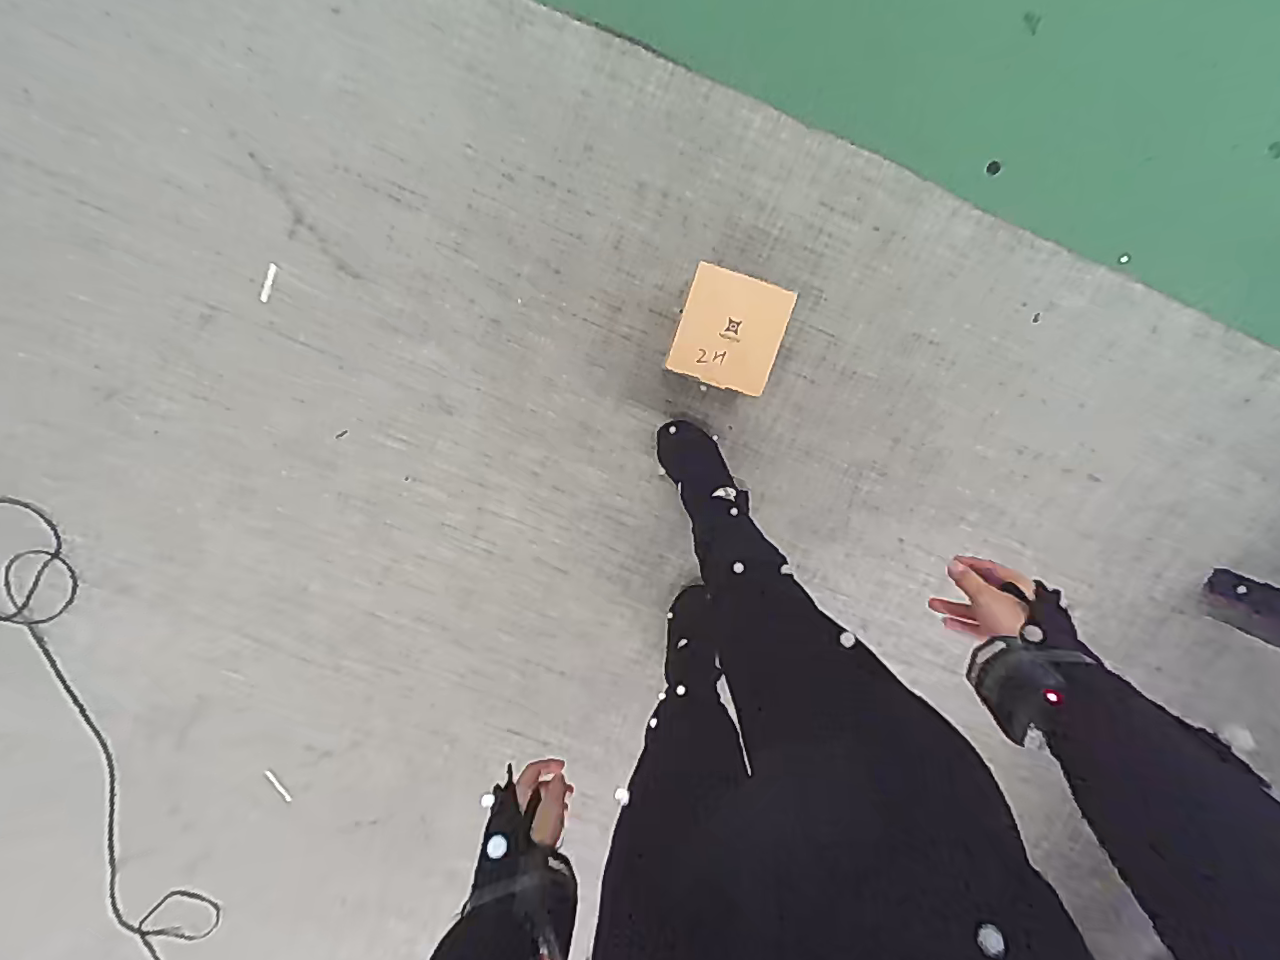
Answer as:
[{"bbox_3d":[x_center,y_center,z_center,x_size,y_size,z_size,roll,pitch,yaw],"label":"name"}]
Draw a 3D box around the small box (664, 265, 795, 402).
[{"bbox_3d":[0.143,-0.247,0.941,0.168,0.176,0.179,18,101,-3],"label":"small box"}]
